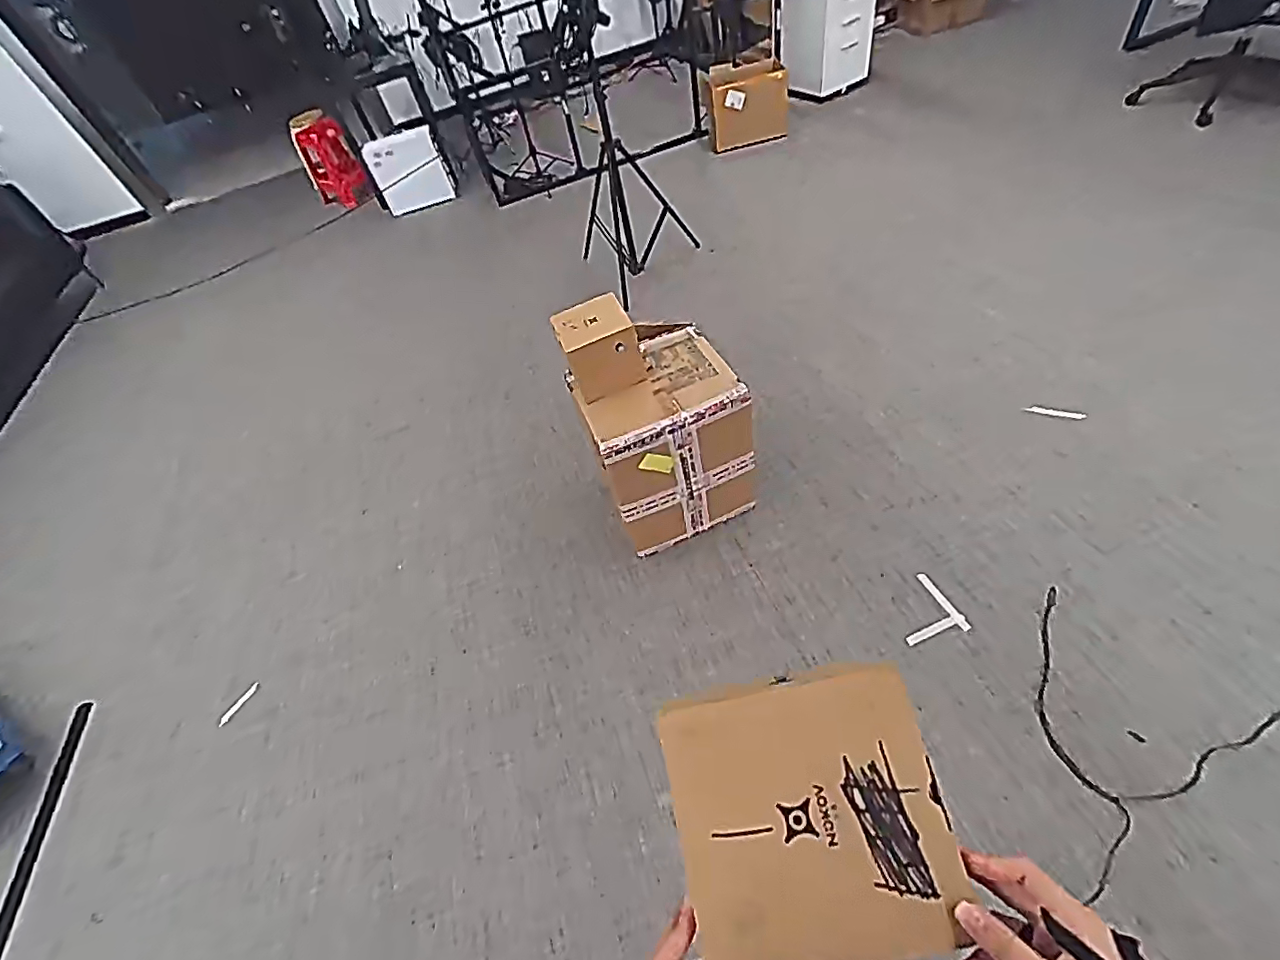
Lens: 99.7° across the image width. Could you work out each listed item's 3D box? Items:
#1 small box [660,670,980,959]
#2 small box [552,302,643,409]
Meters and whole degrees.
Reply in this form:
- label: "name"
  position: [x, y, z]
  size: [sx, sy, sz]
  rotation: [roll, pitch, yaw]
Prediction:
- label: "small box"
  position: [0.118, 0.252, 0.435]
  size: [0.179, 0.176, 0.168]
  rotation: [-13, 70, 1]
- label: "small box"
  position: [-0.102, -0.313, 1.375]
  size: [0.179, 0.176, 0.168]
  rotation: [-23, 50, -2]
